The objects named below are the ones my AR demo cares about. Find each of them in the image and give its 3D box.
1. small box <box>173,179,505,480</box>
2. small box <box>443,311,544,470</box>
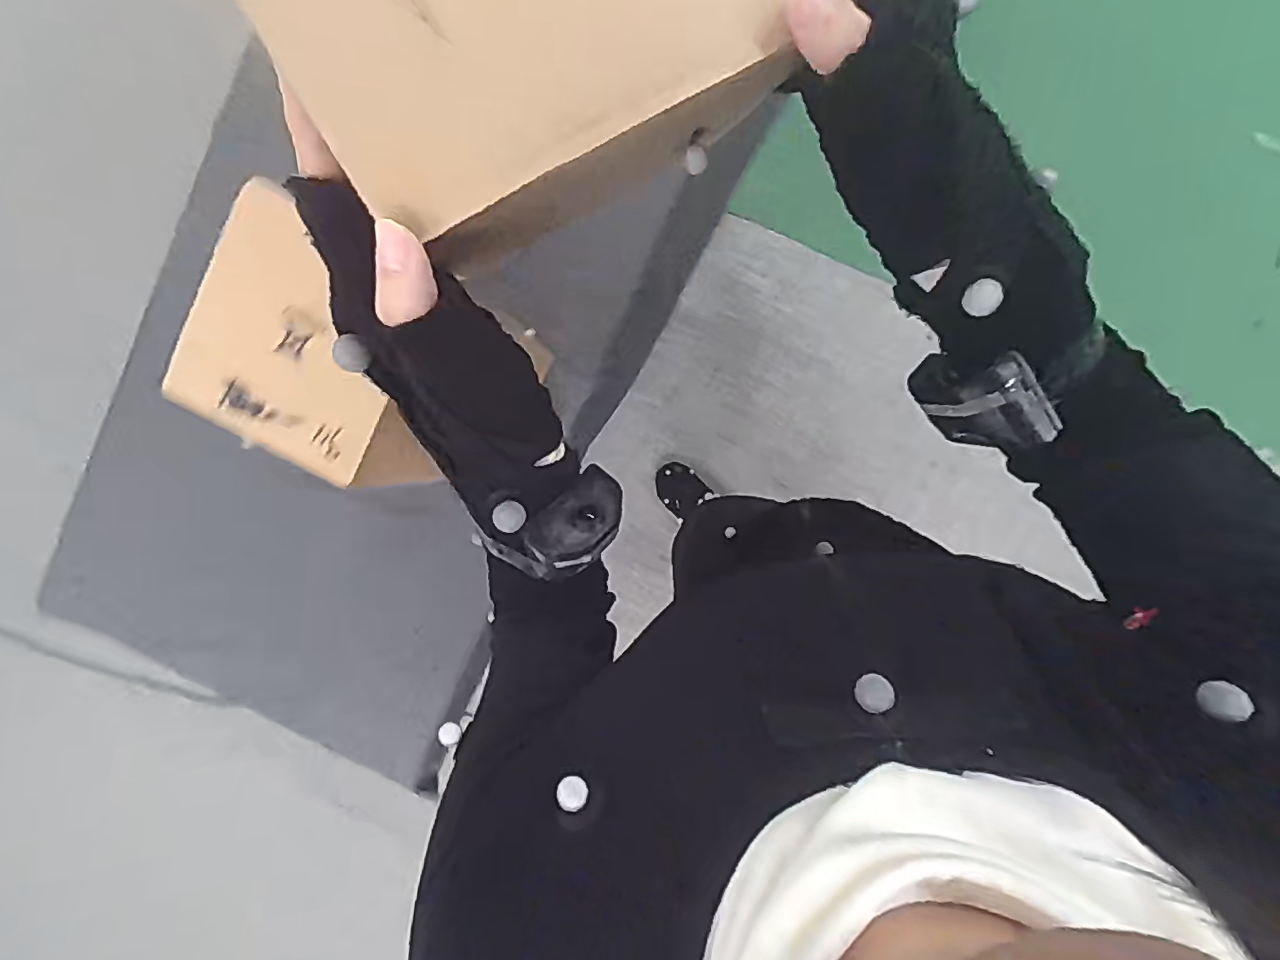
[{"bbox_3d":[-0.241,-0.115,0.482,0.168,0.176,0.179,27,94,4],"label":"small box"},{"bbox_3d":[-0.232,-0.126,0.643,0.168,0.176,0.179,30,95,5],"label":"small box"}]
